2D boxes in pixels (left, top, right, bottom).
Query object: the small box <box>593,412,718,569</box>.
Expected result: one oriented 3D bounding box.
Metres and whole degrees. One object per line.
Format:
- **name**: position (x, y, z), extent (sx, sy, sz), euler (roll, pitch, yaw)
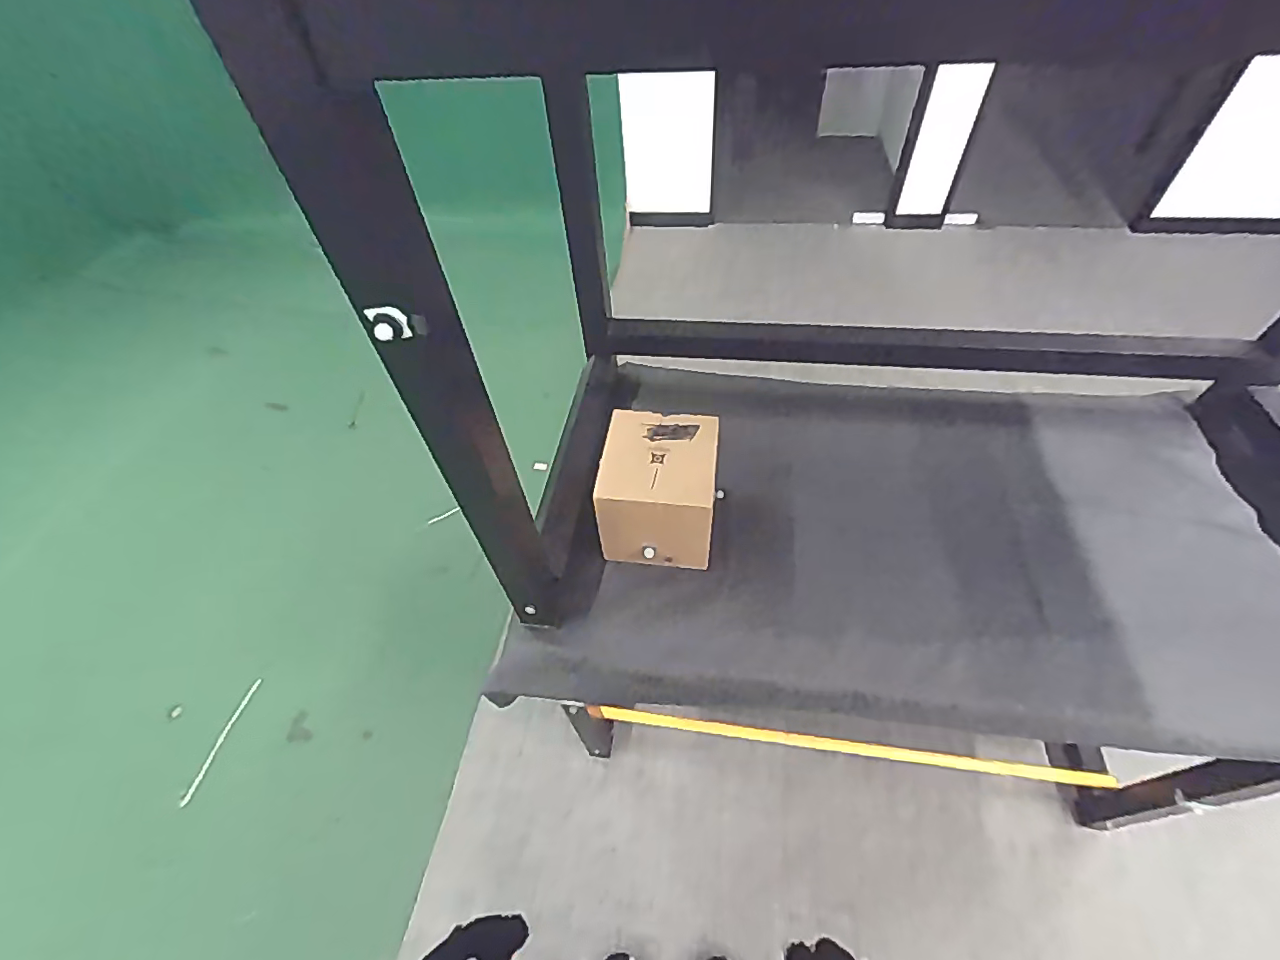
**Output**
- **small box**: position (0.030, 0.017, 0.850), extent (0.168, 0.176, 0.179), euler (5, 51, 7)
